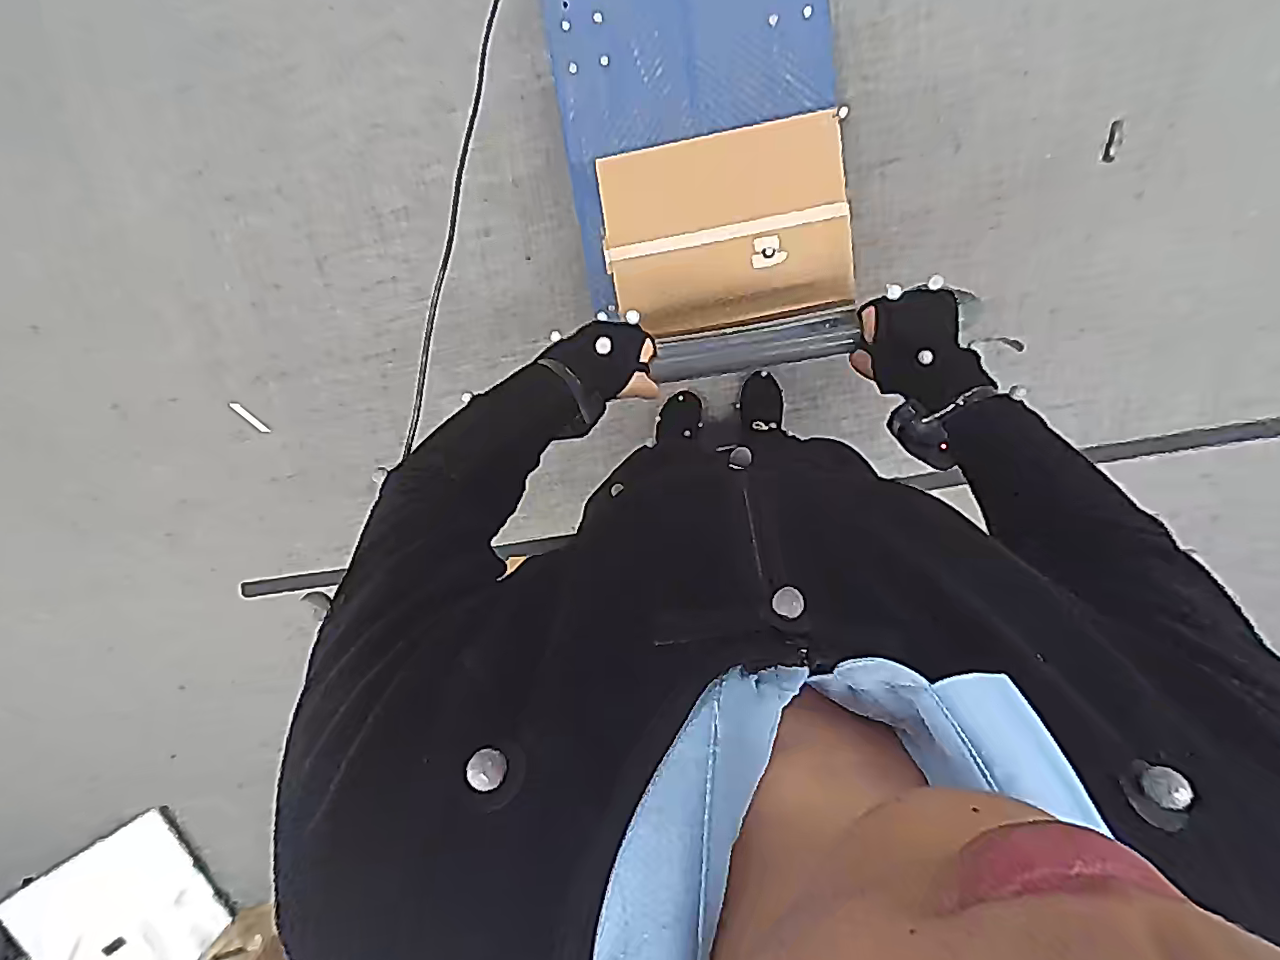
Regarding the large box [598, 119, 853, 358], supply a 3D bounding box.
[{"bbox_3d":[0.158,-0.435,1.068,0.408,0.320,0.320,-8,101,7],"label":"large box"}]
